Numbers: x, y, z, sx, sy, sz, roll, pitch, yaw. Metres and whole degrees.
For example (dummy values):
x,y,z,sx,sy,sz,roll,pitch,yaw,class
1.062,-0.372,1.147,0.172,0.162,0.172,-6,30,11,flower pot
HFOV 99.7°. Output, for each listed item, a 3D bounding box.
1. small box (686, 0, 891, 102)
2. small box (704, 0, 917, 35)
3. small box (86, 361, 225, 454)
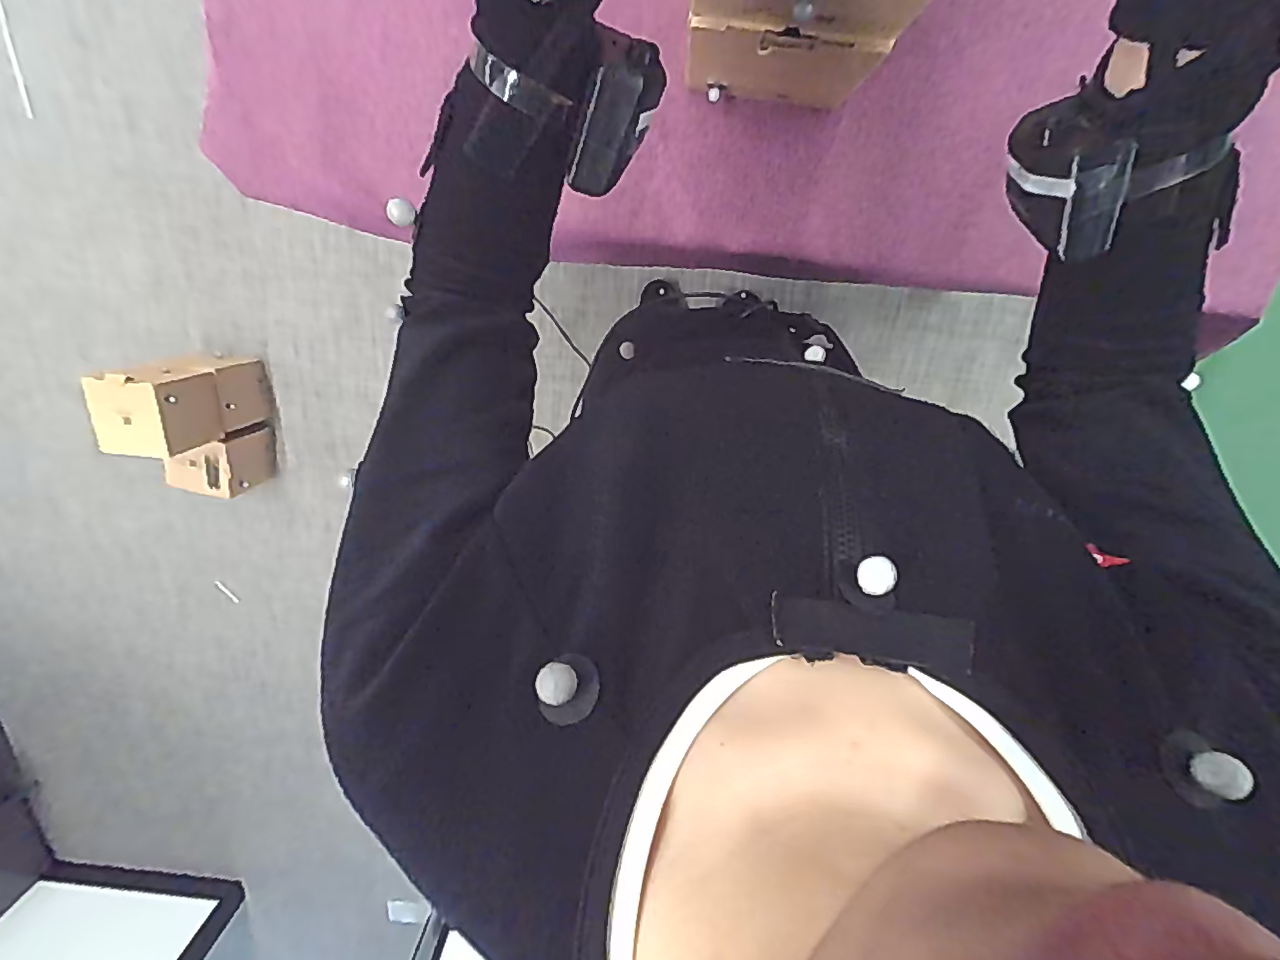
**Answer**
x,y,z,sx,sy,sz,roll,pitch,yaw,class
0.137,-0.466,0.481,0.168,0.176,0.179,9,110,1,small box
0.126,-0.416,0.325,0.168,0.176,0.179,8,112,1,small box
-1.134,-0.176,1.285,0.168,0.176,0.179,6,110,2,small box
